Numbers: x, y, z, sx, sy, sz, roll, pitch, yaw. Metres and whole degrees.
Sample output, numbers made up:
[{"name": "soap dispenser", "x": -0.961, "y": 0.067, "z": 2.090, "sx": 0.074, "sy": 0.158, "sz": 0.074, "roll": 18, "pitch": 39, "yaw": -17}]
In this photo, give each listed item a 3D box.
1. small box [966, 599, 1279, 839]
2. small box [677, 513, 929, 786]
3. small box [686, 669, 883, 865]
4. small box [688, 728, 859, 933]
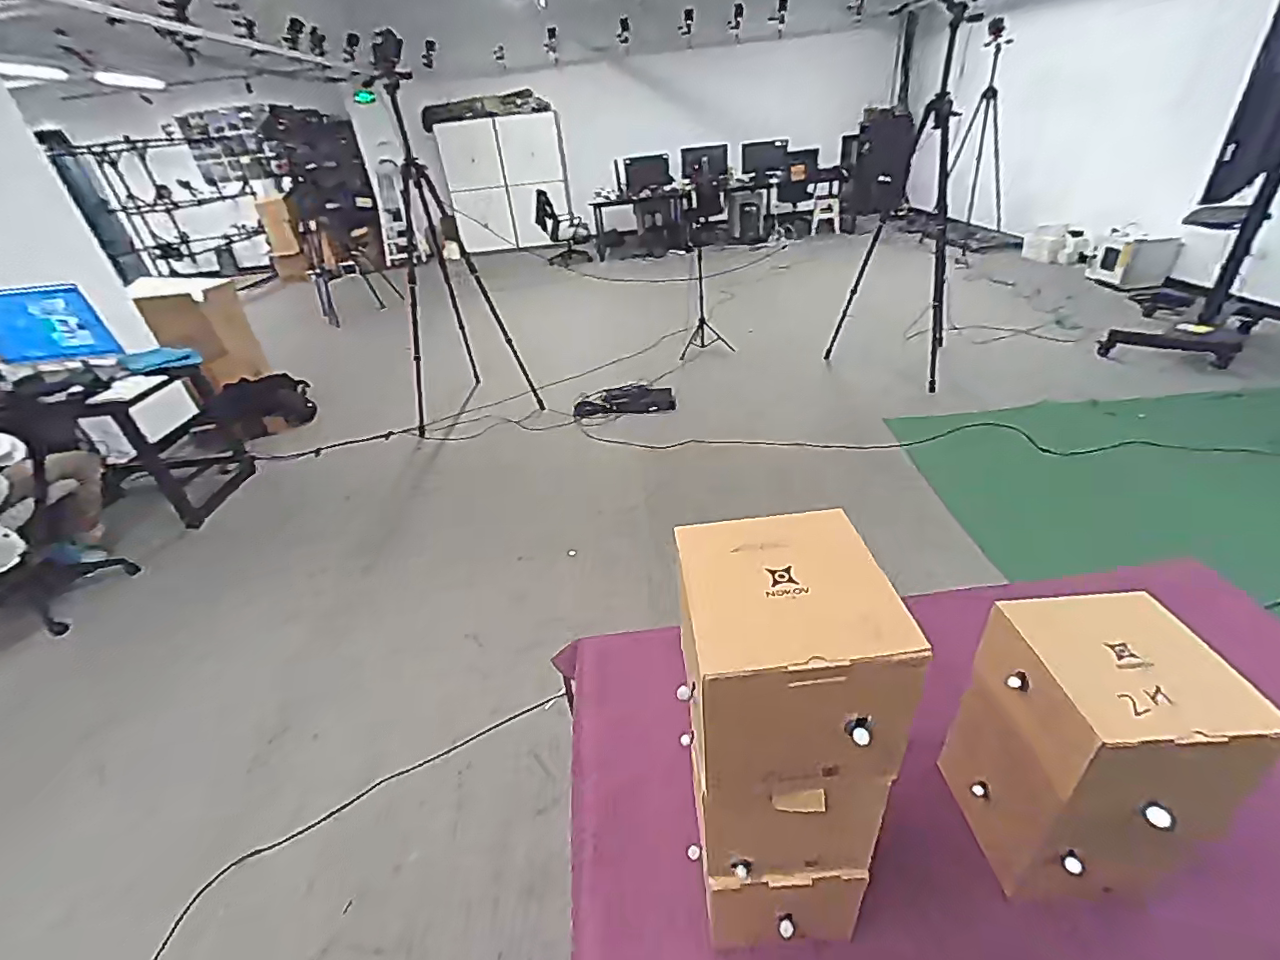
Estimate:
[{"name": "small box", "x": 0.487, "y": 0.252, "z": 0.582, "sx": 0.168, "sy": 0.176, "sz": 0.179, "roll": -4, "pitch": 33, "yaw": 4}, {"name": "small box", "x": 0.126, "y": 0.153, "z": 0.490, "sx": 0.168, "sy": 0.176, "sz": 0.179, "roll": -5, "pitch": 33, "yaw": 0}, {"name": "small box", "x": 0.139, "y": 0.287, "z": 0.582, "sx": 0.168, "sy": 0.176, "sz": 0.179, "roll": -4, "pitch": 32, "yaw": 2}, {"name": "small box", "x": 0.150, "y": 0.428, "z": 0.667, "sx": 0.168, "sy": 0.176, "sz": 0.179, "roll": -4, "pitch": 34, "yaw": 1}]
